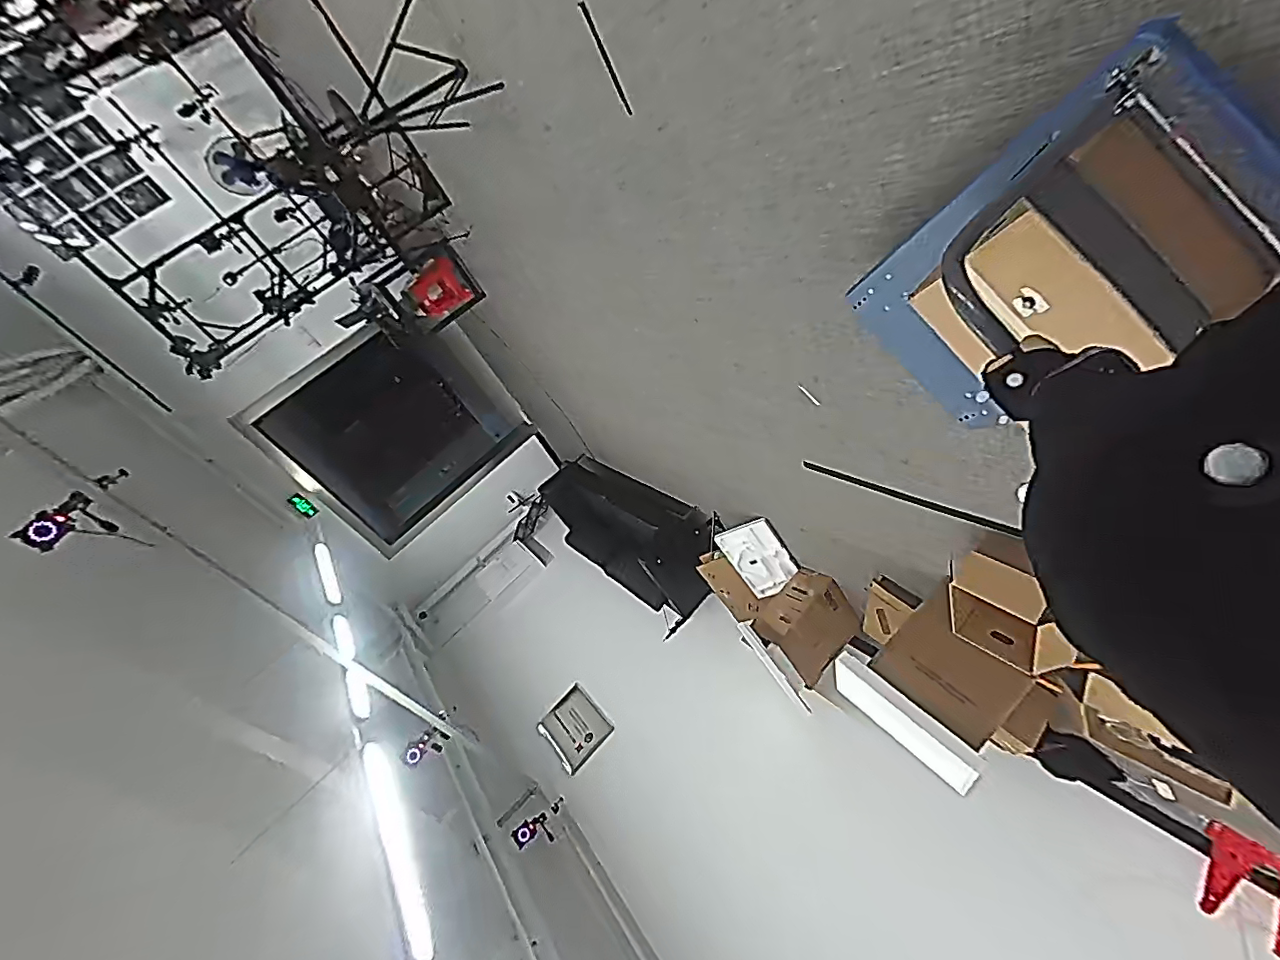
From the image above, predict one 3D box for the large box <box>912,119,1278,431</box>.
[{"bbox_3d":[0.850,-0.370,1.048,0.408,0.320,0.320,48,164,0],"label":"large box"}]
